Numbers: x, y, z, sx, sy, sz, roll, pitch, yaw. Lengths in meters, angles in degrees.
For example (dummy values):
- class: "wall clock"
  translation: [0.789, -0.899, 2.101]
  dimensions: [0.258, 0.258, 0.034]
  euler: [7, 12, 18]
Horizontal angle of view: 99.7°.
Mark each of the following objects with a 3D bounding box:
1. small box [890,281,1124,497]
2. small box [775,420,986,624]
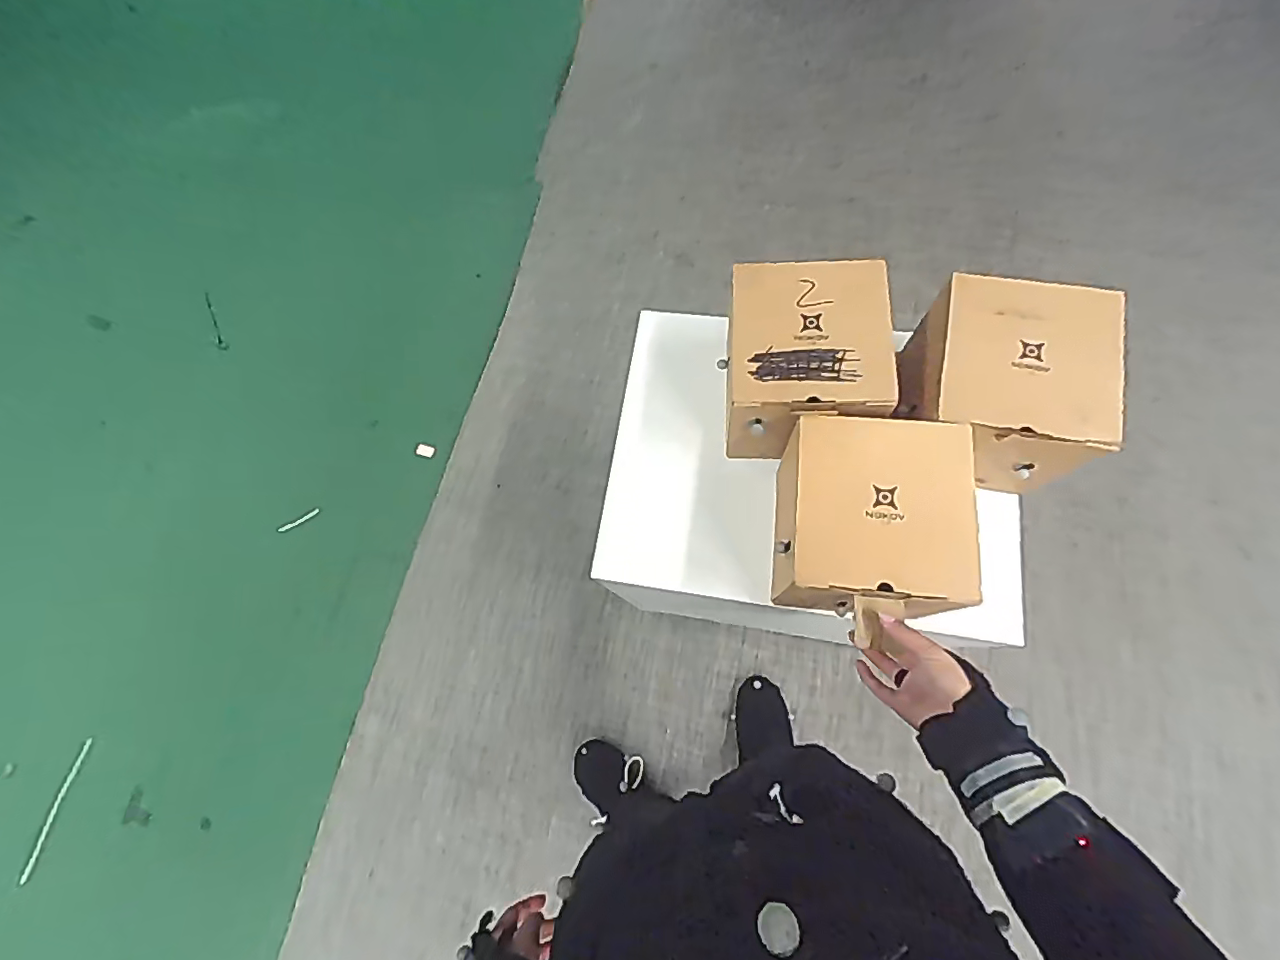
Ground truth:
- class: "small box"
  translation: [0.399, -0.093, 0.614]
  dimensions: [0.168, 0.176, 0.179]
  euler: [11, 73, 9]
- class: "small box"
  translation: [0.243, 0.053, 0.587]
  dimensions: [0.168, 0.176, 0.179]
  euler: [5, 72, 8]
